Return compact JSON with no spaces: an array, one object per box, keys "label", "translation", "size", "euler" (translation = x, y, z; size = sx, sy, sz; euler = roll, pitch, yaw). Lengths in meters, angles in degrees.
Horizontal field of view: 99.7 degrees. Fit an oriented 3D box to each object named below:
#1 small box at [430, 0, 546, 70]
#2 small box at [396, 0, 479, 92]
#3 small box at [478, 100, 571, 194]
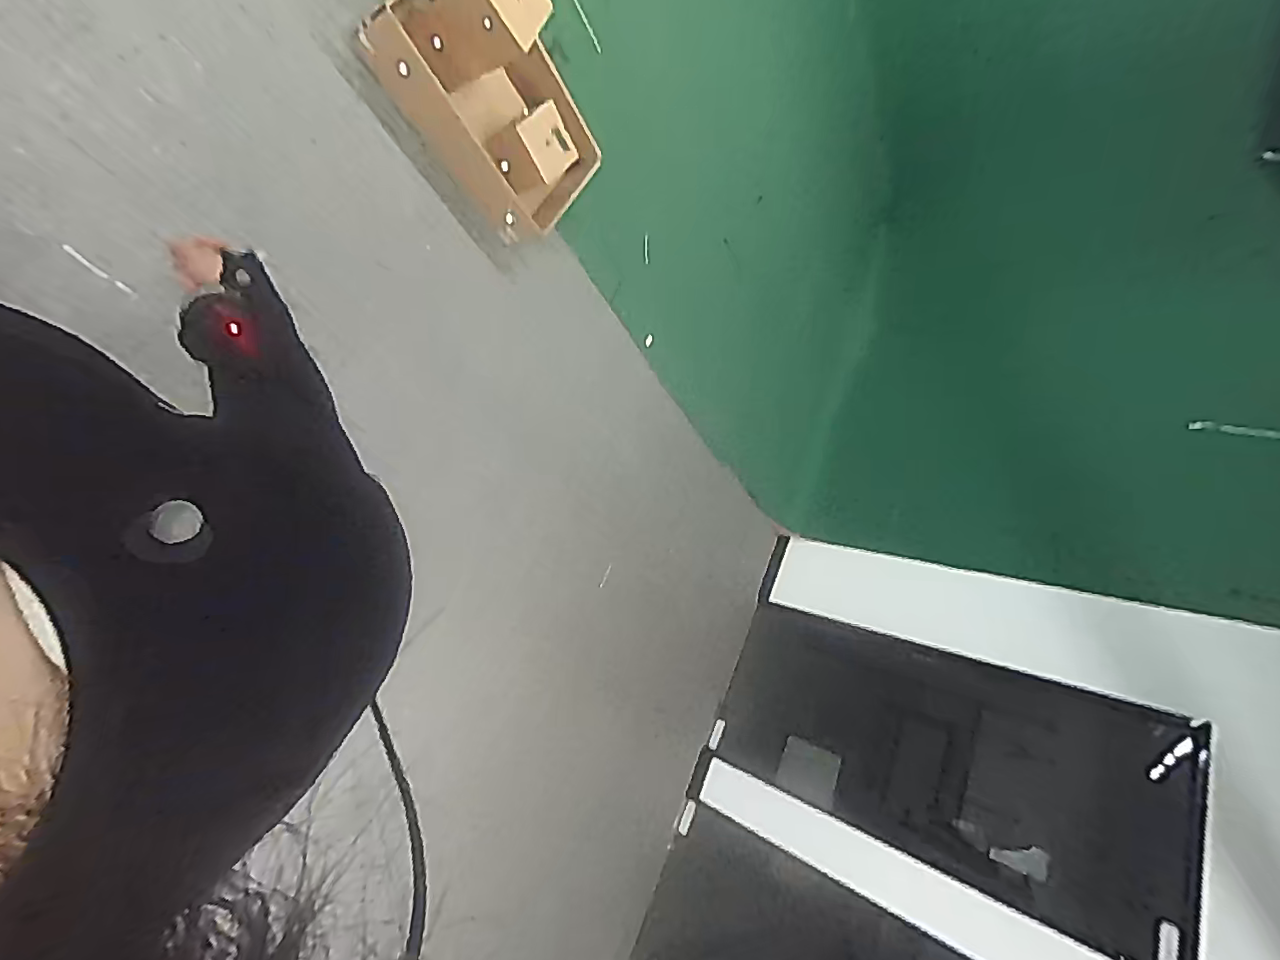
[{"label":"small box","translation":[-0.365,-1.140,1.296],"size":[0.179,0.176,0.168],"euler":[40,68,-50]},{"label":"small box","translation":[-0.491,-1.160,1.401],"size":[0.179,0.176,0.168],"euler":[51,59,-43]},{"label":"small box","translation":[-0.346,-0.991,1.618],"size":[0.179,0.176,0.168],"euler":[-56,135,-26]}]
